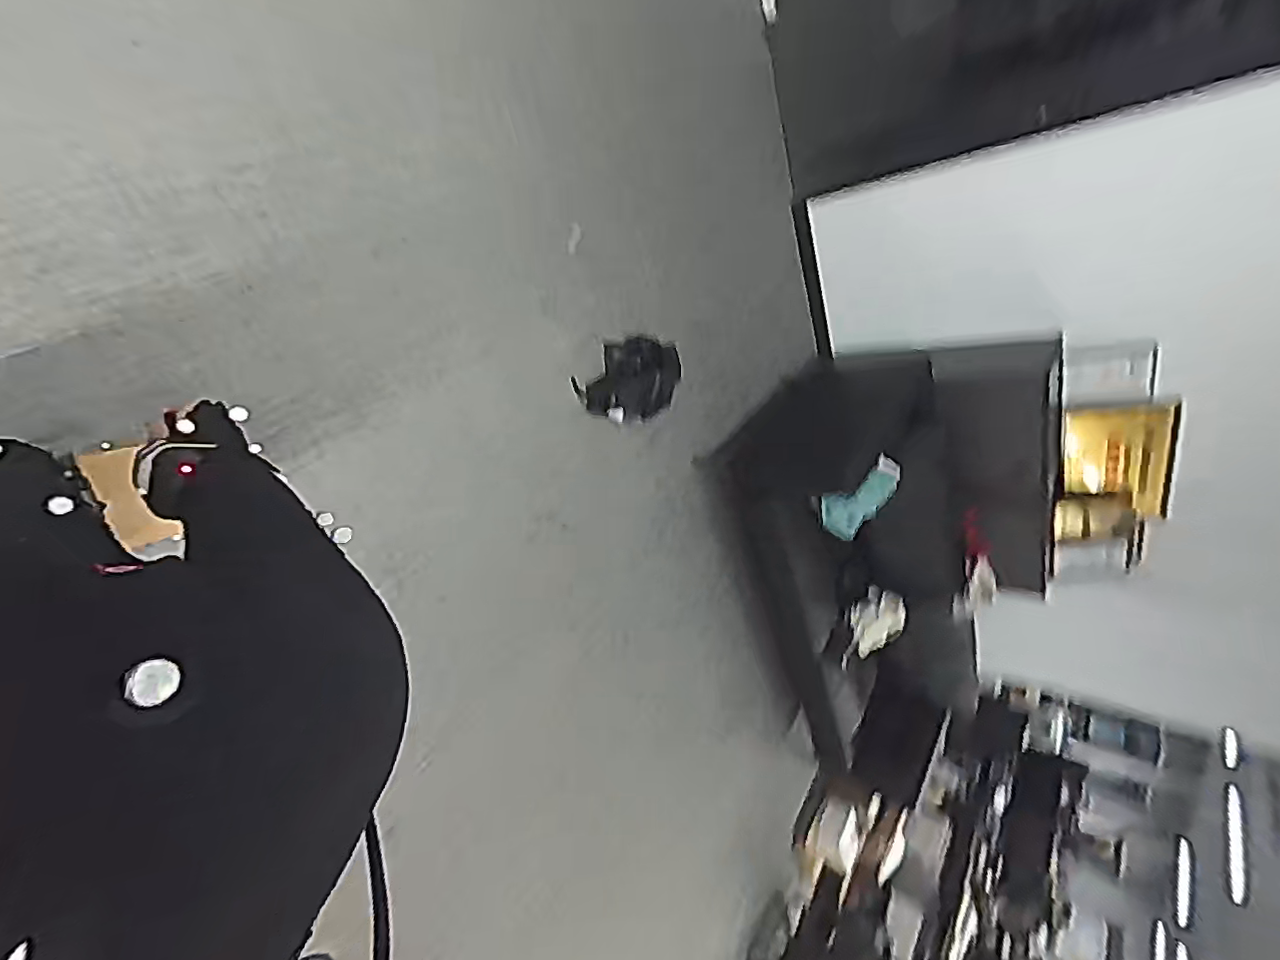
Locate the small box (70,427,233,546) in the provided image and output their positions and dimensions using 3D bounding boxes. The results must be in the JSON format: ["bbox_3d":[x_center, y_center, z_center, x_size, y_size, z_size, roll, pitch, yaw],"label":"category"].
[{"bbox_3d":[-0.892,0.001,0.989,0.179,0.176,0.168,-24,114,-43],"label":"small box"}]
